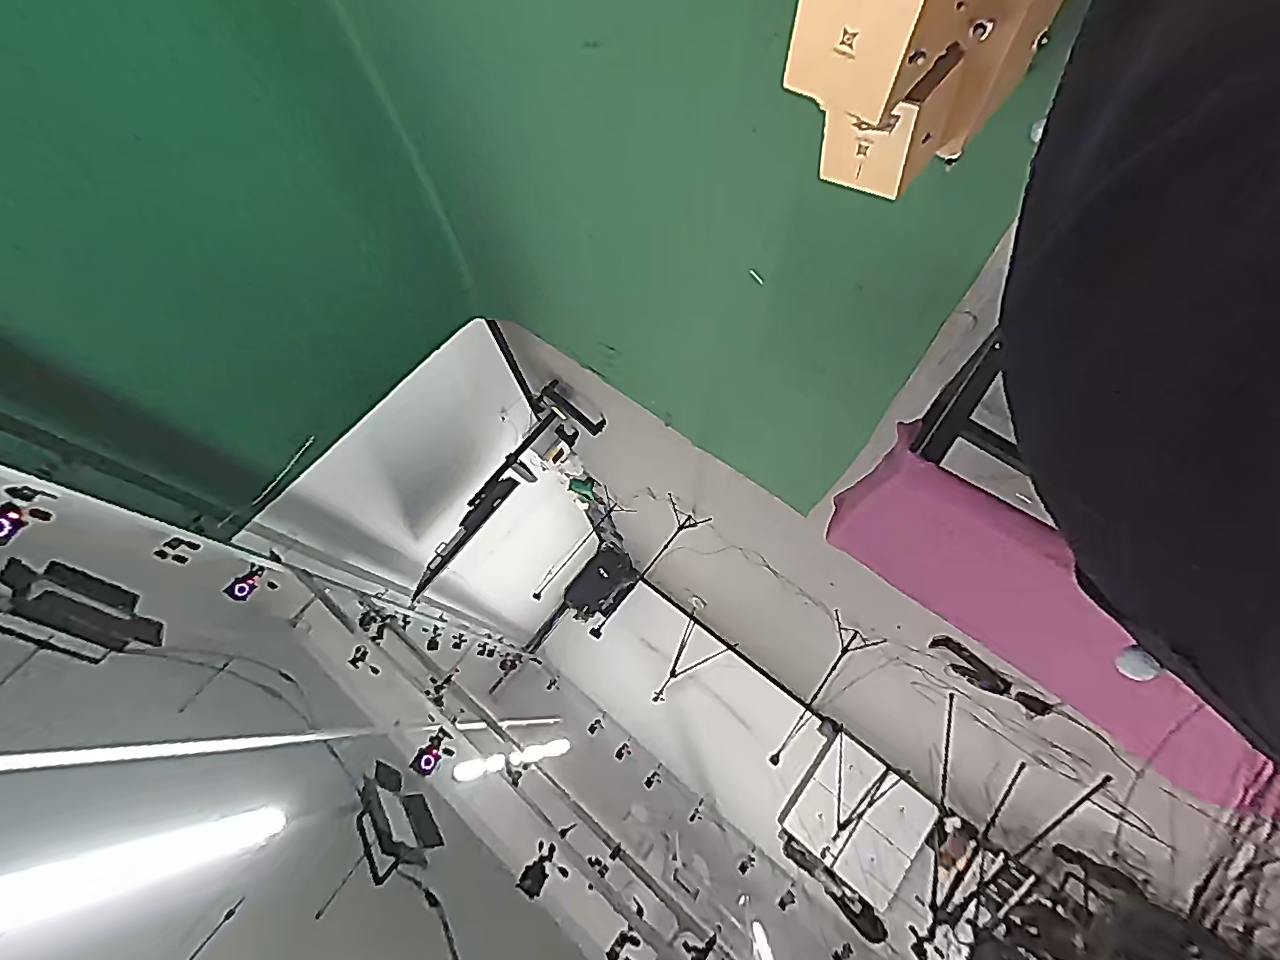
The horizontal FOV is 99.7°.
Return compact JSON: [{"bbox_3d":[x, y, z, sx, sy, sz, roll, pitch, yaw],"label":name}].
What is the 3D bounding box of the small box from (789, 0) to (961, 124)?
[{"bbox_3d":[0.338,-0.659,0.757,0.168,0.176,0.179,35,165,16],"label":"small box"}]
